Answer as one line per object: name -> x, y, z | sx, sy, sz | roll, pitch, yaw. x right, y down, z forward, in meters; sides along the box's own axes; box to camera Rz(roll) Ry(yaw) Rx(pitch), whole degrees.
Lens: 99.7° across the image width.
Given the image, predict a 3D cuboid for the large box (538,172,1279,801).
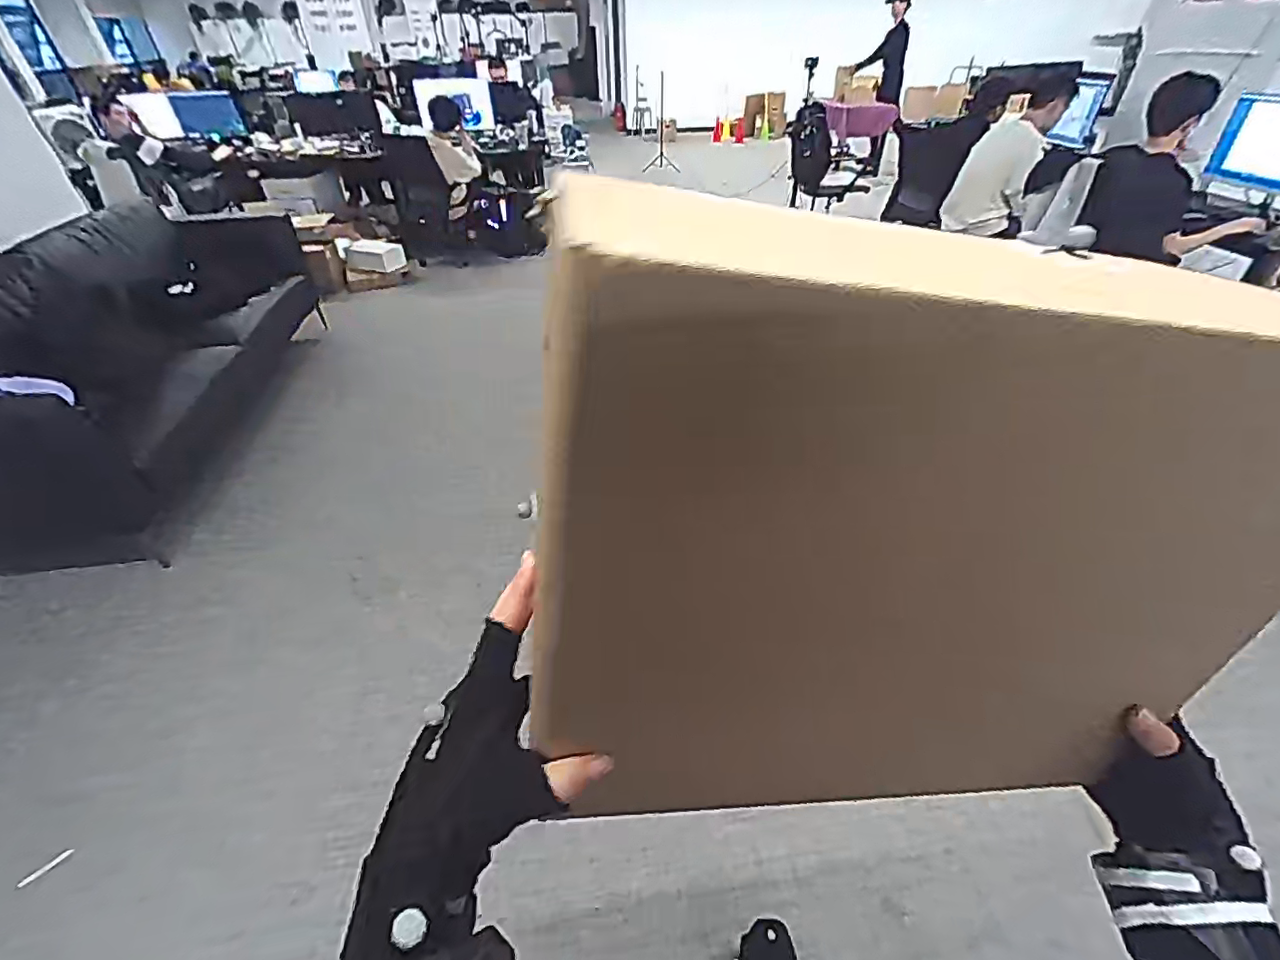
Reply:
large box -> 0.141, -0.010, 0.400 | 0.408, 0.320, 0.320 | 4, 32, -13
